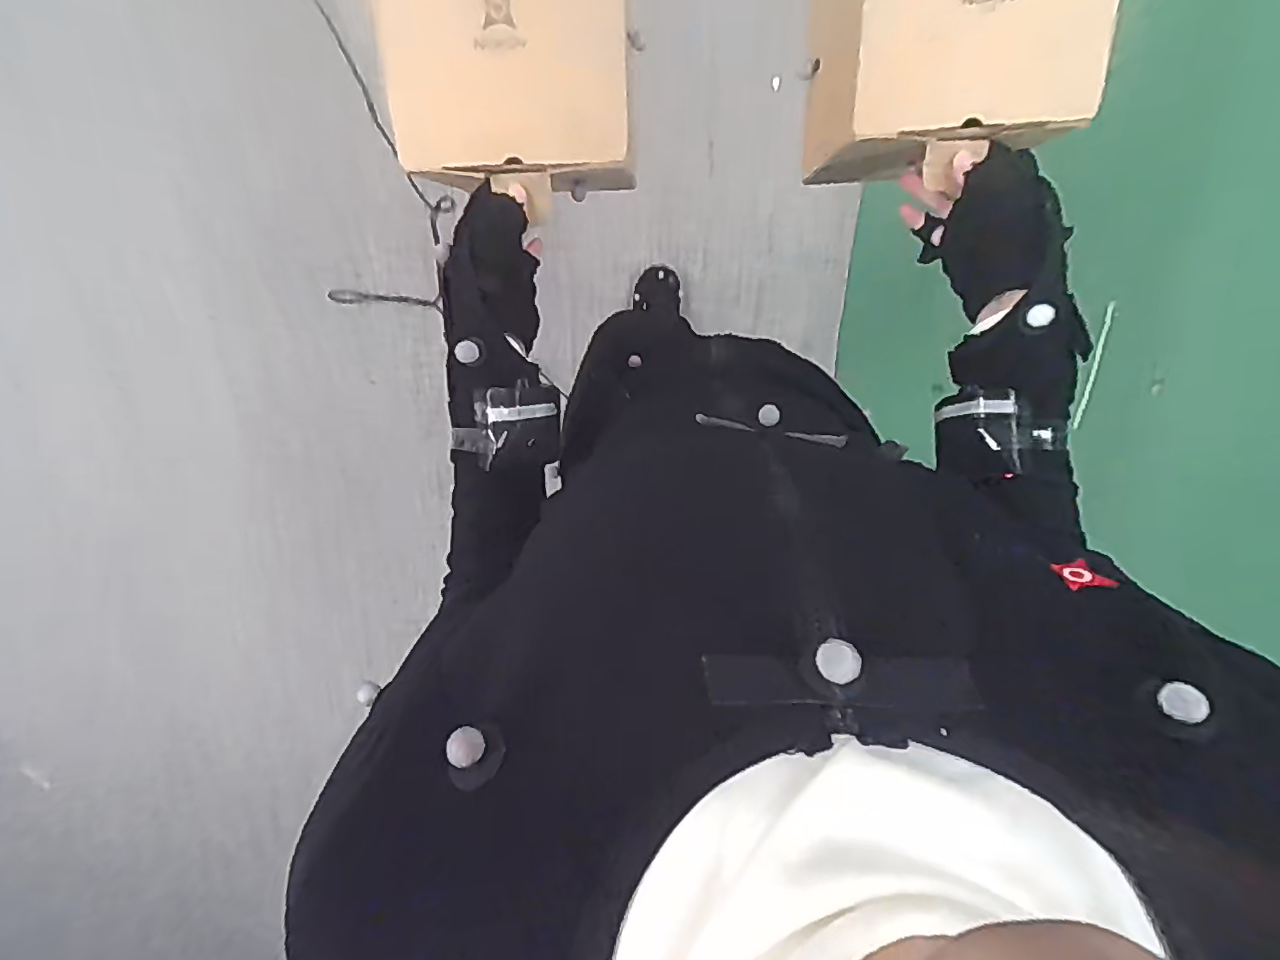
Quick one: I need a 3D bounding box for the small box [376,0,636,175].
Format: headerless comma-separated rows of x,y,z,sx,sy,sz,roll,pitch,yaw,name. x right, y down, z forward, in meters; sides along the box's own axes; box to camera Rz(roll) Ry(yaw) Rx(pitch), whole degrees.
-0.089,-0.345,0.423,0.168,0.176,0.179,-1,112,1,small box
